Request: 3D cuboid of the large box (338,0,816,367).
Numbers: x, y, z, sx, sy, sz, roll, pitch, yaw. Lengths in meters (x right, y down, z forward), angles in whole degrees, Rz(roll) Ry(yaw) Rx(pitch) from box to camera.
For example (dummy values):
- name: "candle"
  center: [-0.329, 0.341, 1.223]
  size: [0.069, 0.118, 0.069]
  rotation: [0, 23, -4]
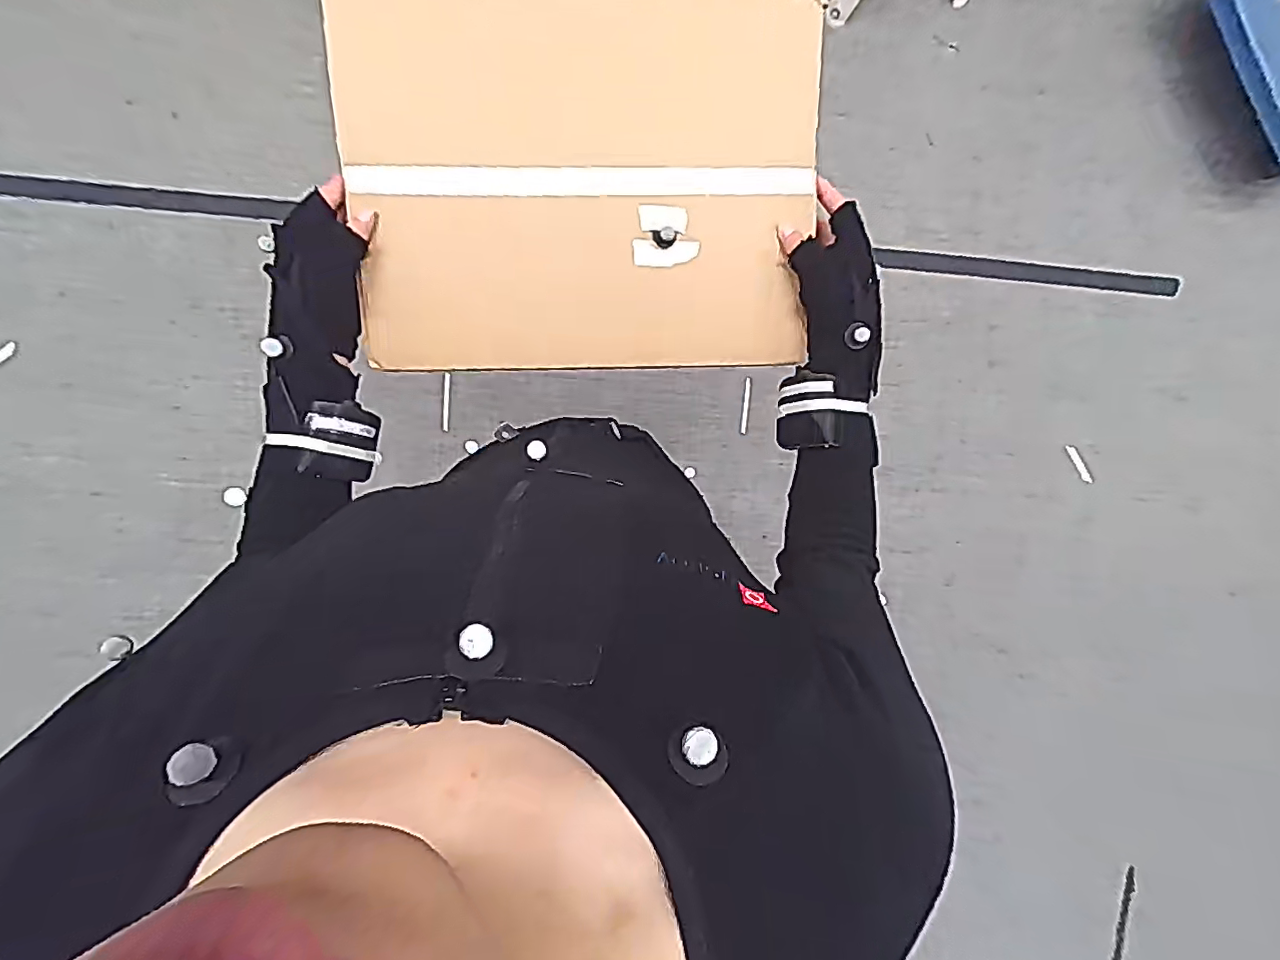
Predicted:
- name: "large box"
  center: [-0.056, -0.296, 0.622]
  size: [0.408, 0.320, 0.320]
  rotation: [-2, 103, -5]
